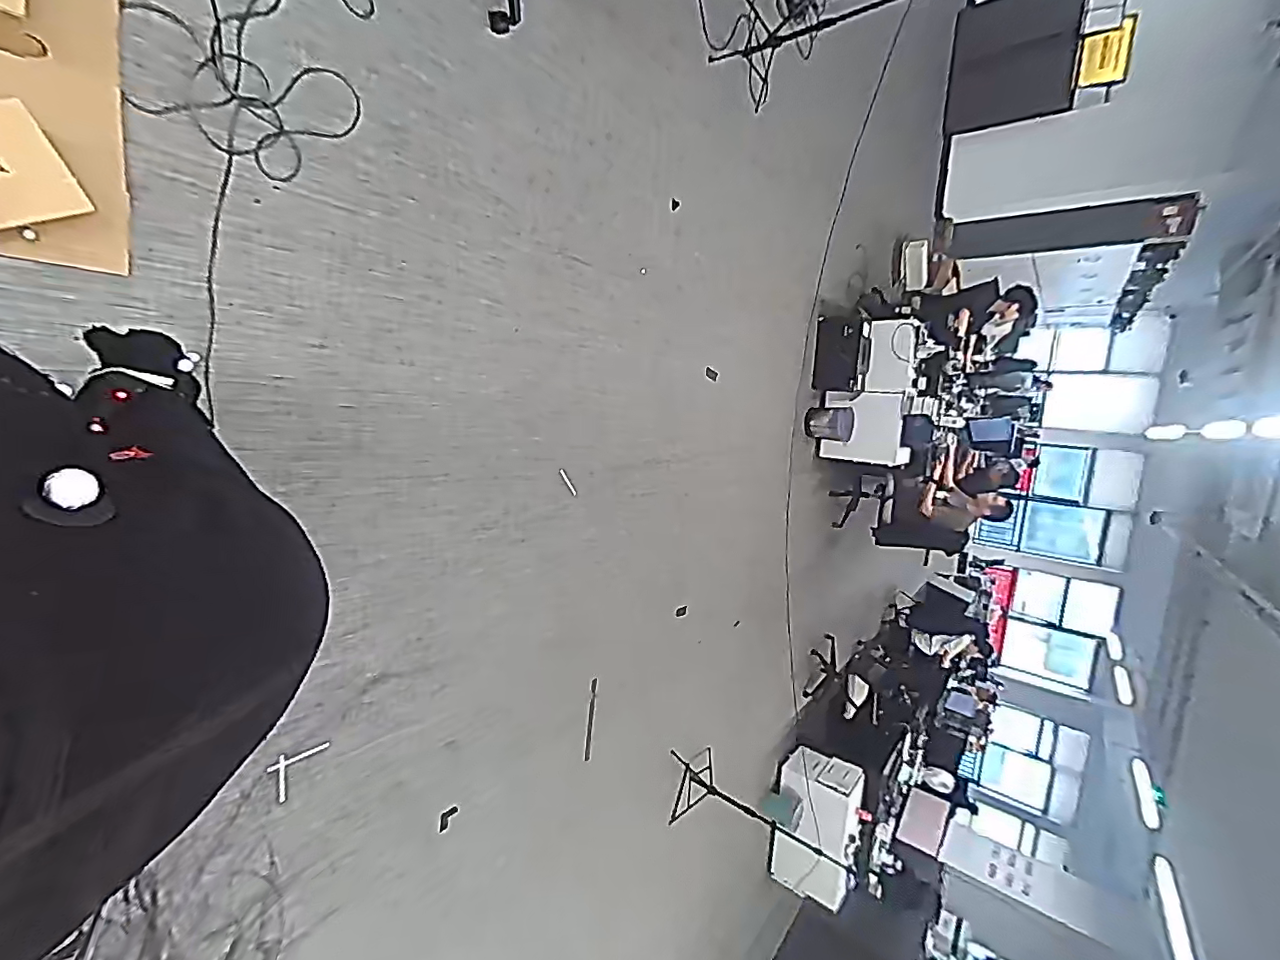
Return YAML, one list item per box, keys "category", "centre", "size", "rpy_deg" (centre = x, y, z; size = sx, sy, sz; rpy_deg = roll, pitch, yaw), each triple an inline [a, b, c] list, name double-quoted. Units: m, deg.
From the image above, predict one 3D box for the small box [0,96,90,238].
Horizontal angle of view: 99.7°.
- category: "small box"
  centre: [-1.062, -0.495, 0.874]
  size: [0.179, 0.176, 0.168]
  rpy_deg: [-42, 128, -36]
